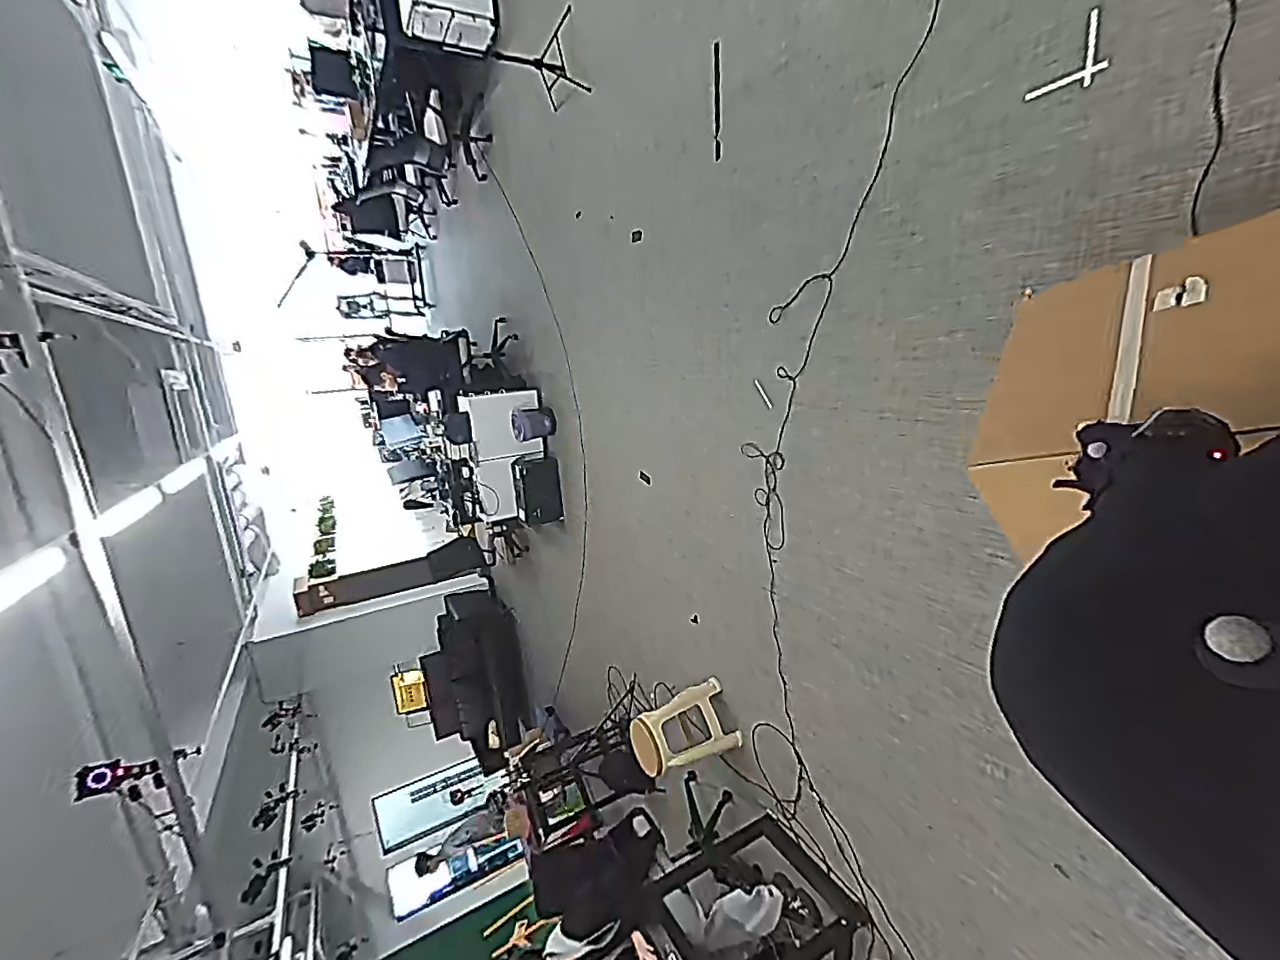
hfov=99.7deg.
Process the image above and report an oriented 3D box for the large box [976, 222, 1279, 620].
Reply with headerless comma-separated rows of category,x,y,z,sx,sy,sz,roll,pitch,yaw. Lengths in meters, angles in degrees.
large box,0.727,-0.065,0.742,0.320,0.408,0.320,49,150,-21
